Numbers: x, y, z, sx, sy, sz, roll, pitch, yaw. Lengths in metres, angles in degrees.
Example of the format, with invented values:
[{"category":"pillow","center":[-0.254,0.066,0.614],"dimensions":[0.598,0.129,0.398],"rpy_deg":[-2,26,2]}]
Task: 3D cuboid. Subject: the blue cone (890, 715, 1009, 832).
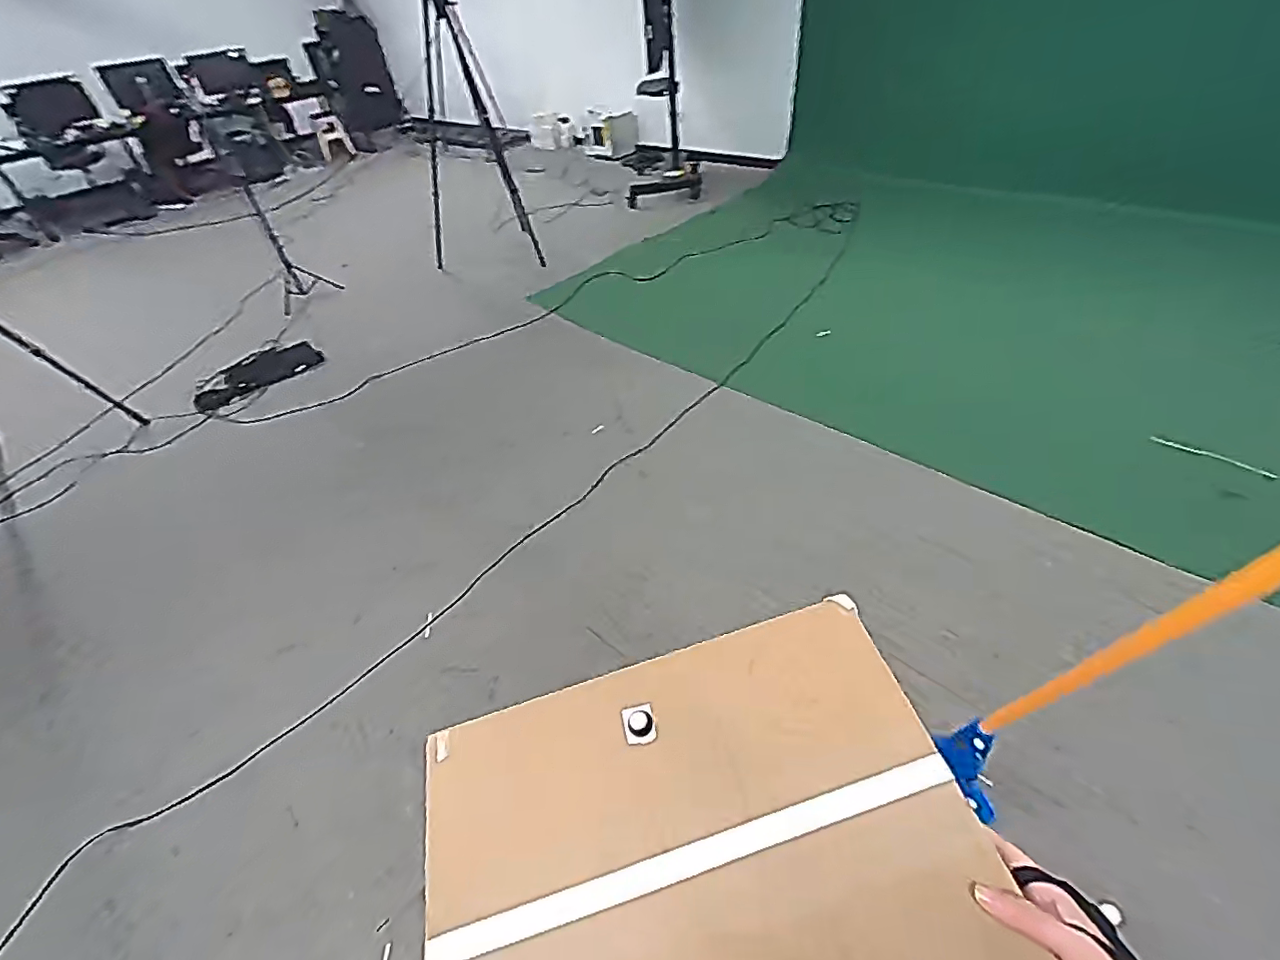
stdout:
[{"category":"blue cone","center":[0.712,0.601,1.188],"dimensions":[0.193,0.380,0.192],"rpy_deg":[-13,45,-8]}]
